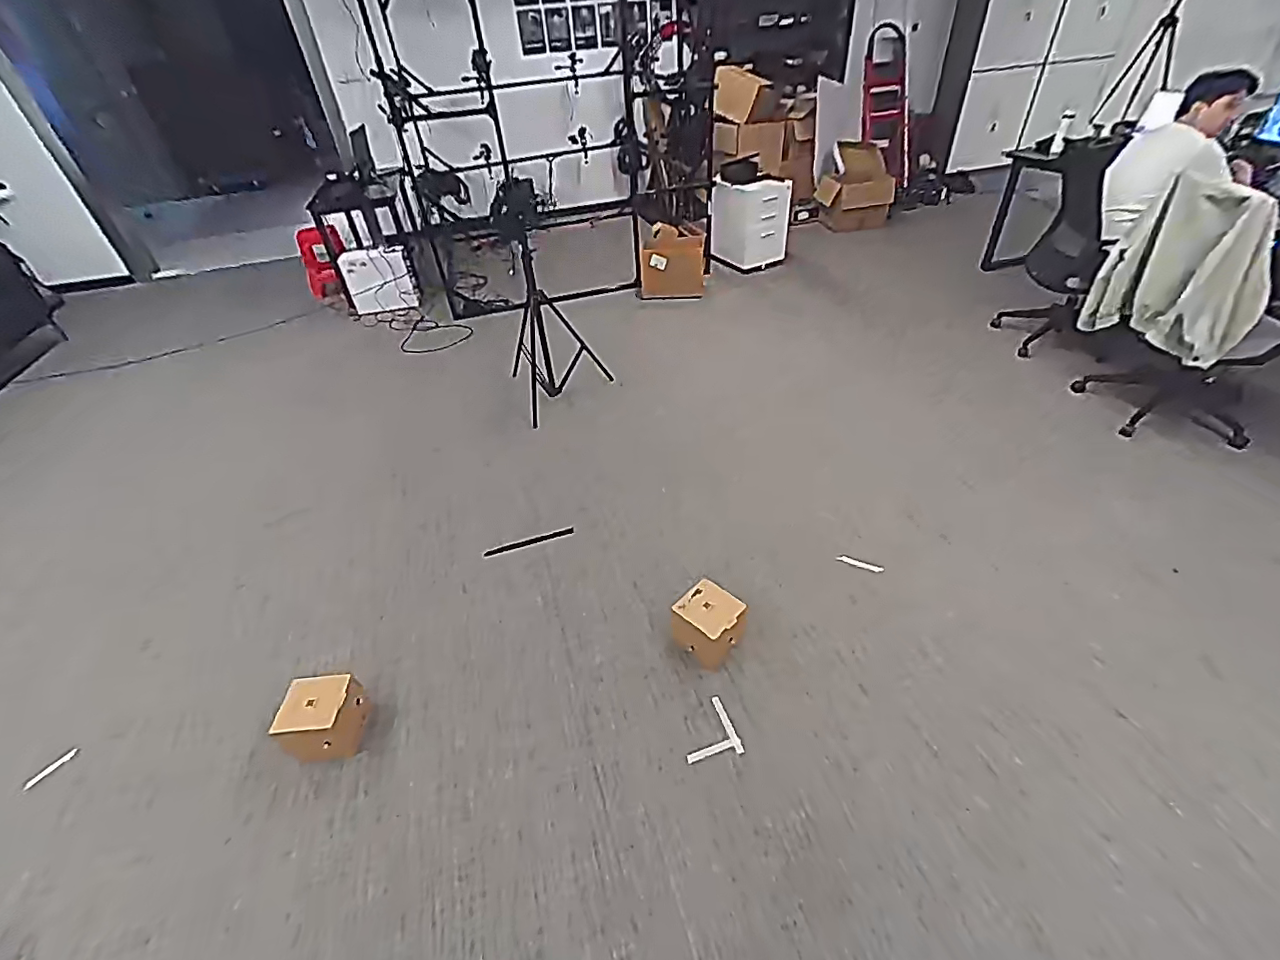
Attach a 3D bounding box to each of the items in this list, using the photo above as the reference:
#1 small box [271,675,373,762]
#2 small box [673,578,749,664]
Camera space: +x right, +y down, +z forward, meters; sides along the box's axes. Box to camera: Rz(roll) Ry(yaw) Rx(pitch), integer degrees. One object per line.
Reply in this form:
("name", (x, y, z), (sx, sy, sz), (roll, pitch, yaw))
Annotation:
("small box", (-0.905, 0.690, 1.563), (0.179, 0.176, 0.168), (-7, 38, 0))
("small box", (0.222, 0.455, 1.714), (0.168, 0.176, 0.179), (-35, 49, -31))
